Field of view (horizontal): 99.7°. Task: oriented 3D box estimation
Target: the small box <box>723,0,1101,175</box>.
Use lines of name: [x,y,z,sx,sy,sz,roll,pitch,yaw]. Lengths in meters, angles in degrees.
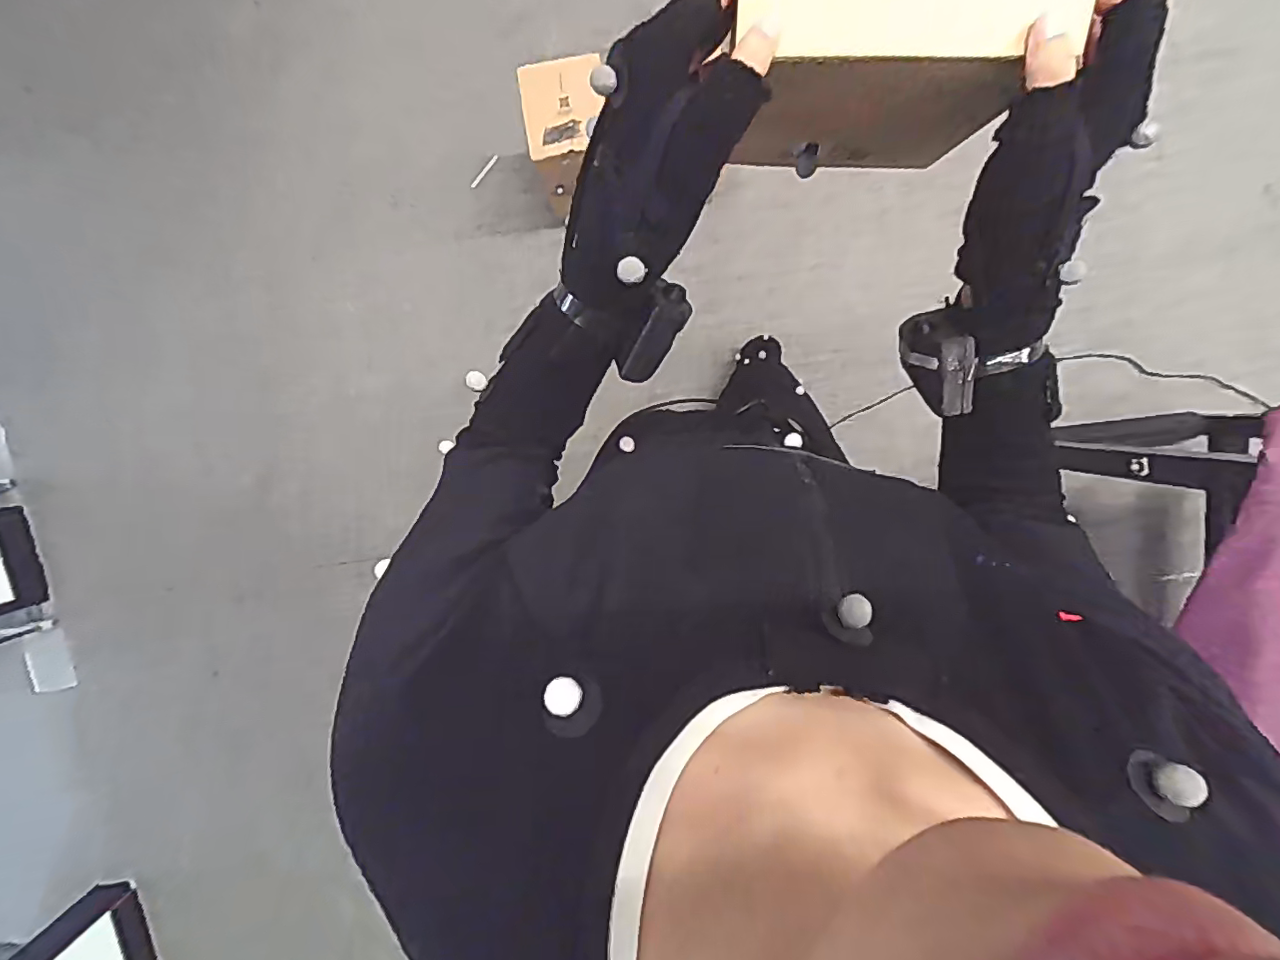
small box: [0.141,-0.305,0.320,0.168,0.176,0.179,3,104,4]
